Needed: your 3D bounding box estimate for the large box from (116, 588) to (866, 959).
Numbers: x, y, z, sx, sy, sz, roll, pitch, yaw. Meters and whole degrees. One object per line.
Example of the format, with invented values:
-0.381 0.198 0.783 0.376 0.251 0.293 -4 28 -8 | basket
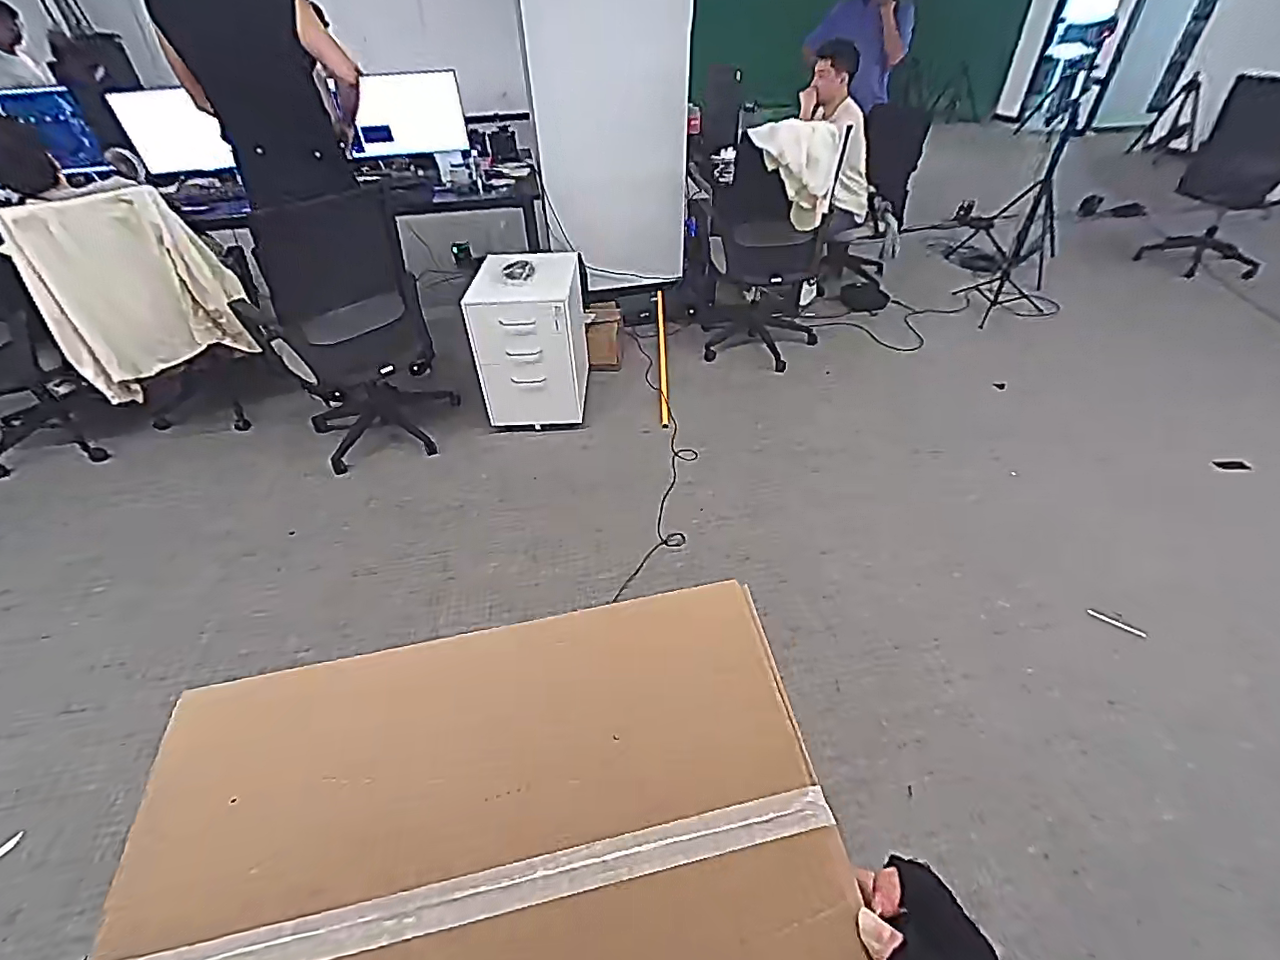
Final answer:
-0.083 0.328 0.426 0.408 0.320 0.320 -10 50 -6 | large box
